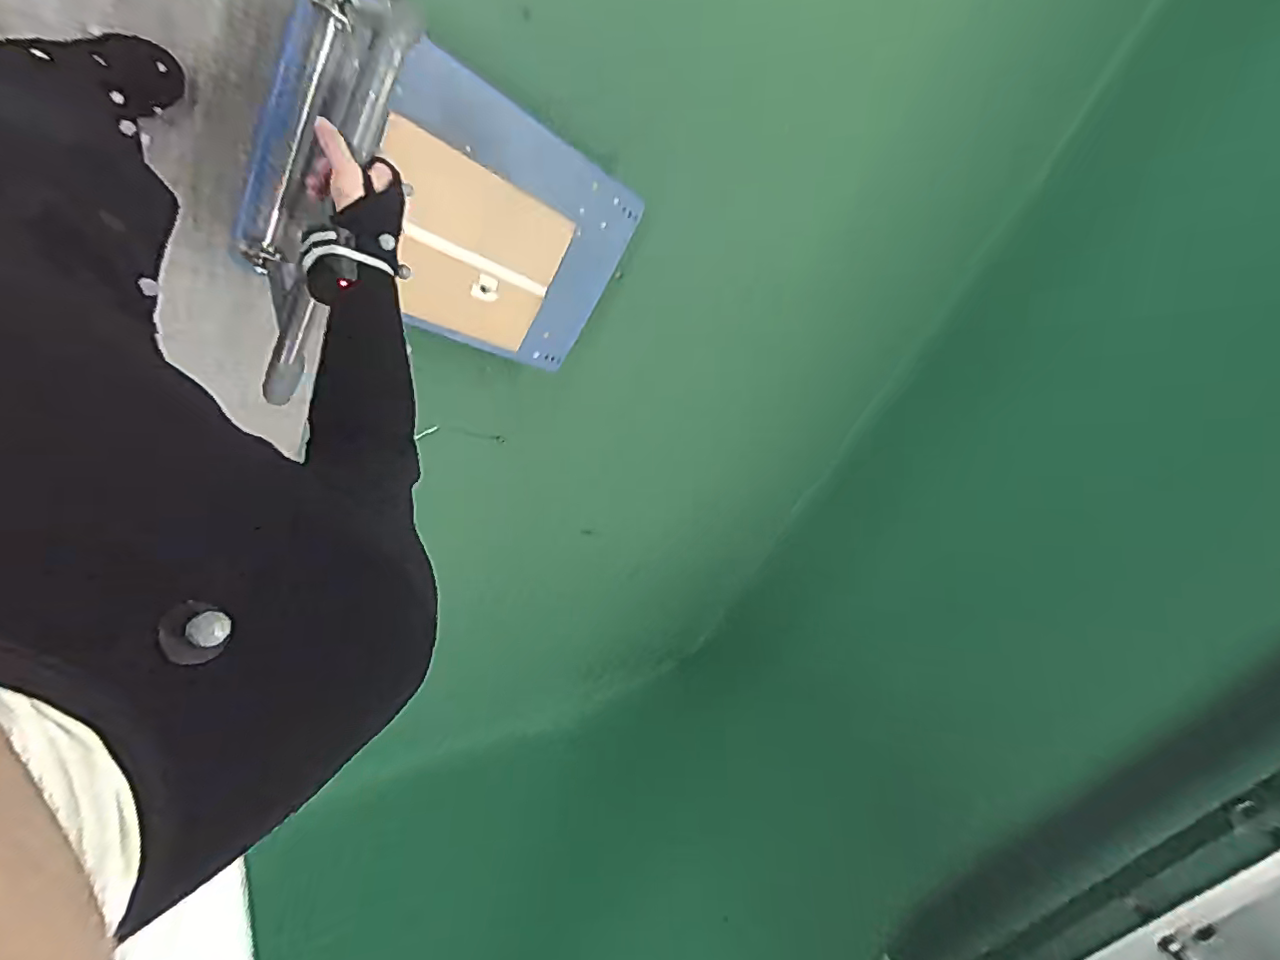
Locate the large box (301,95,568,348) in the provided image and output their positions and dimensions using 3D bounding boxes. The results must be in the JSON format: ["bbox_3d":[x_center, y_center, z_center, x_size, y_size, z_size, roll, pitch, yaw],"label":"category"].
[{"bbox_3d":[-0.444,-0.536,1.163,0.408,0.320,0.320,10,119,-47],"label":"large box"}]
